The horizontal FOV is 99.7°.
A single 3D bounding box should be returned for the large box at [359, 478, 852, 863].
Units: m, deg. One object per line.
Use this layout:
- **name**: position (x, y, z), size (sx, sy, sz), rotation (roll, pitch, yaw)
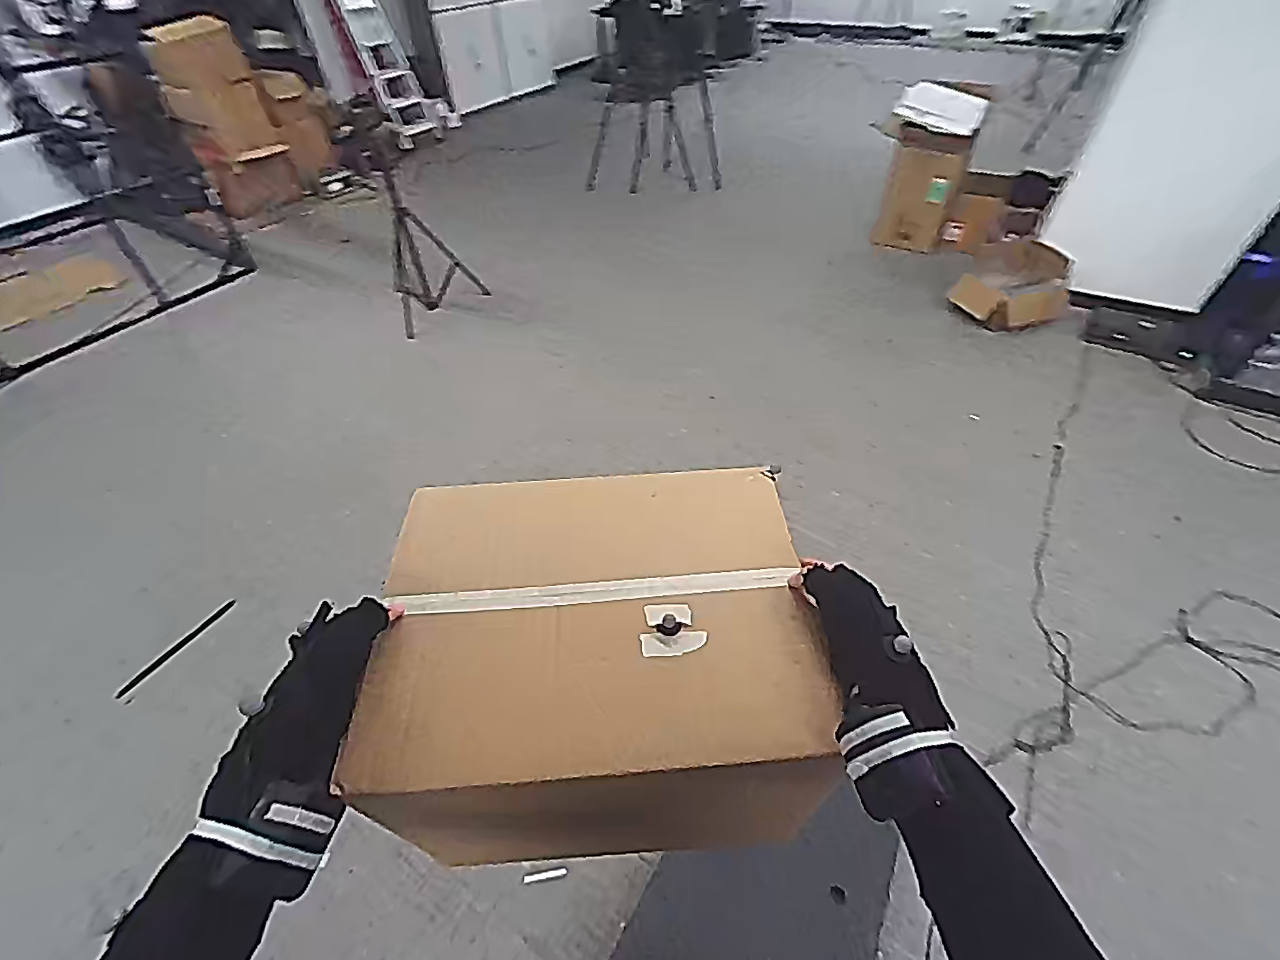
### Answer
- **large box**: position (-0.032, 0.222, 0.636), size (0.408, 0.320, 0.320), rotation (-3, 46, -2)
